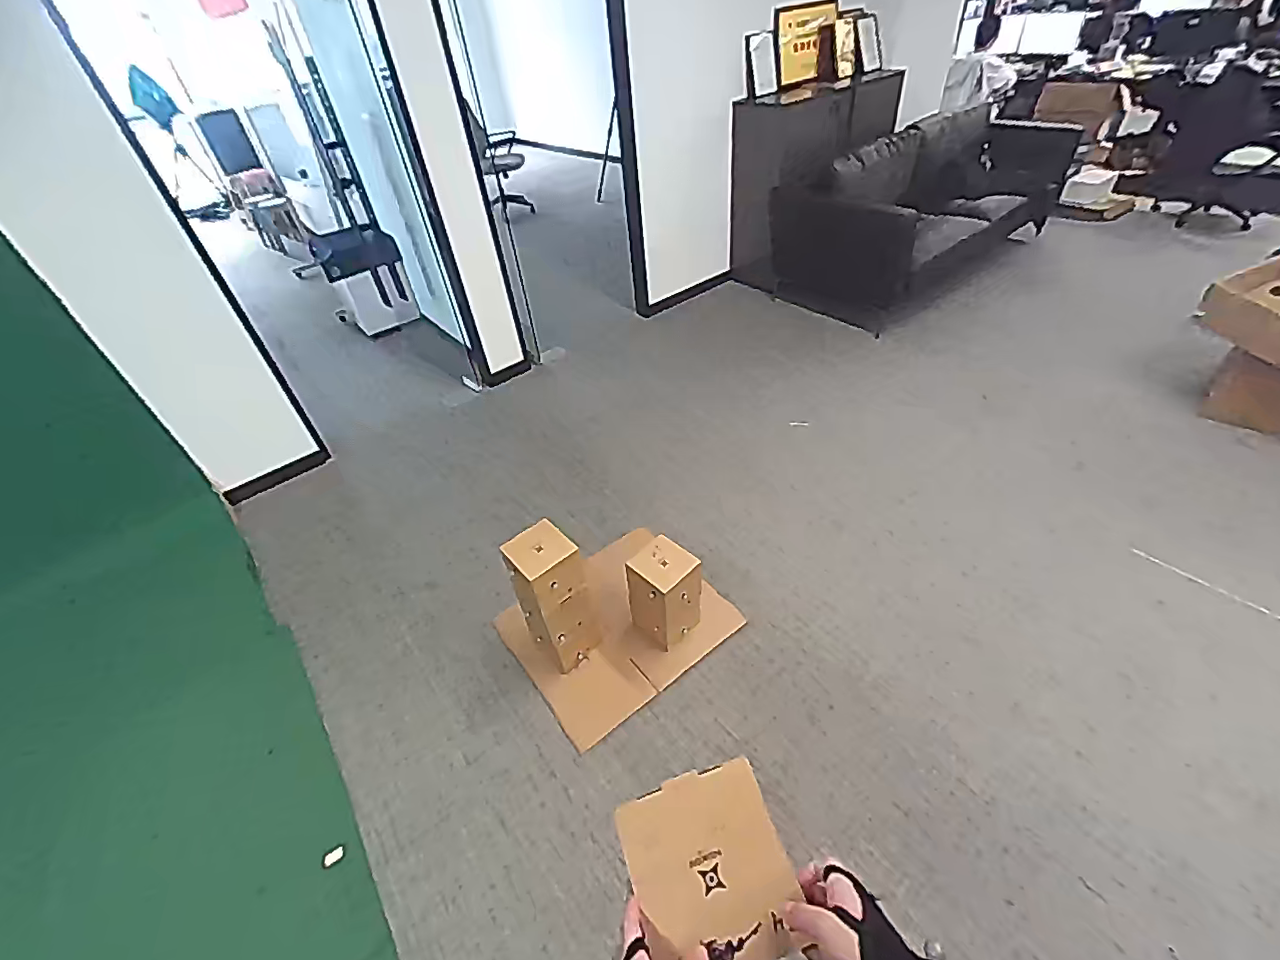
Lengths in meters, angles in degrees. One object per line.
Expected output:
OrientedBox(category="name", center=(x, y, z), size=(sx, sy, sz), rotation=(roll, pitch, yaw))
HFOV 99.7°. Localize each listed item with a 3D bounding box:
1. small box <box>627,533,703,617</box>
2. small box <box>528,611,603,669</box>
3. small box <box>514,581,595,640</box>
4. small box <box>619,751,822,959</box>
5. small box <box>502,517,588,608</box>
OrientedBox(category="small box", center=(0.083, 0.306, 1.707), size=(0.168, 0.176, 0.179), rotation=(-35, 49, -29))
OrientedBox(category="small box", center=(-0.245, 0.492, 1.800), size=(0.179, 0.176, 0.168), rotation=(31, 54, 34))
OrientedBox(category="small box", center=(-0.261, 0.371, 1.691), size=(0.168, 0.176, 0.179), rotation=(-34, 47, -26))
OrientedBox(category="small box", center=(0.083, 0.446, 0.628), size=(0.168, 0.176, 0.179), rotation=(-18, 55, -5))
OrientedBox(category="small box", center=(-0.274, 0.249, 1.586), size=(0.168, 0.176, 0.179), rotation=(-34, 48, -26))
